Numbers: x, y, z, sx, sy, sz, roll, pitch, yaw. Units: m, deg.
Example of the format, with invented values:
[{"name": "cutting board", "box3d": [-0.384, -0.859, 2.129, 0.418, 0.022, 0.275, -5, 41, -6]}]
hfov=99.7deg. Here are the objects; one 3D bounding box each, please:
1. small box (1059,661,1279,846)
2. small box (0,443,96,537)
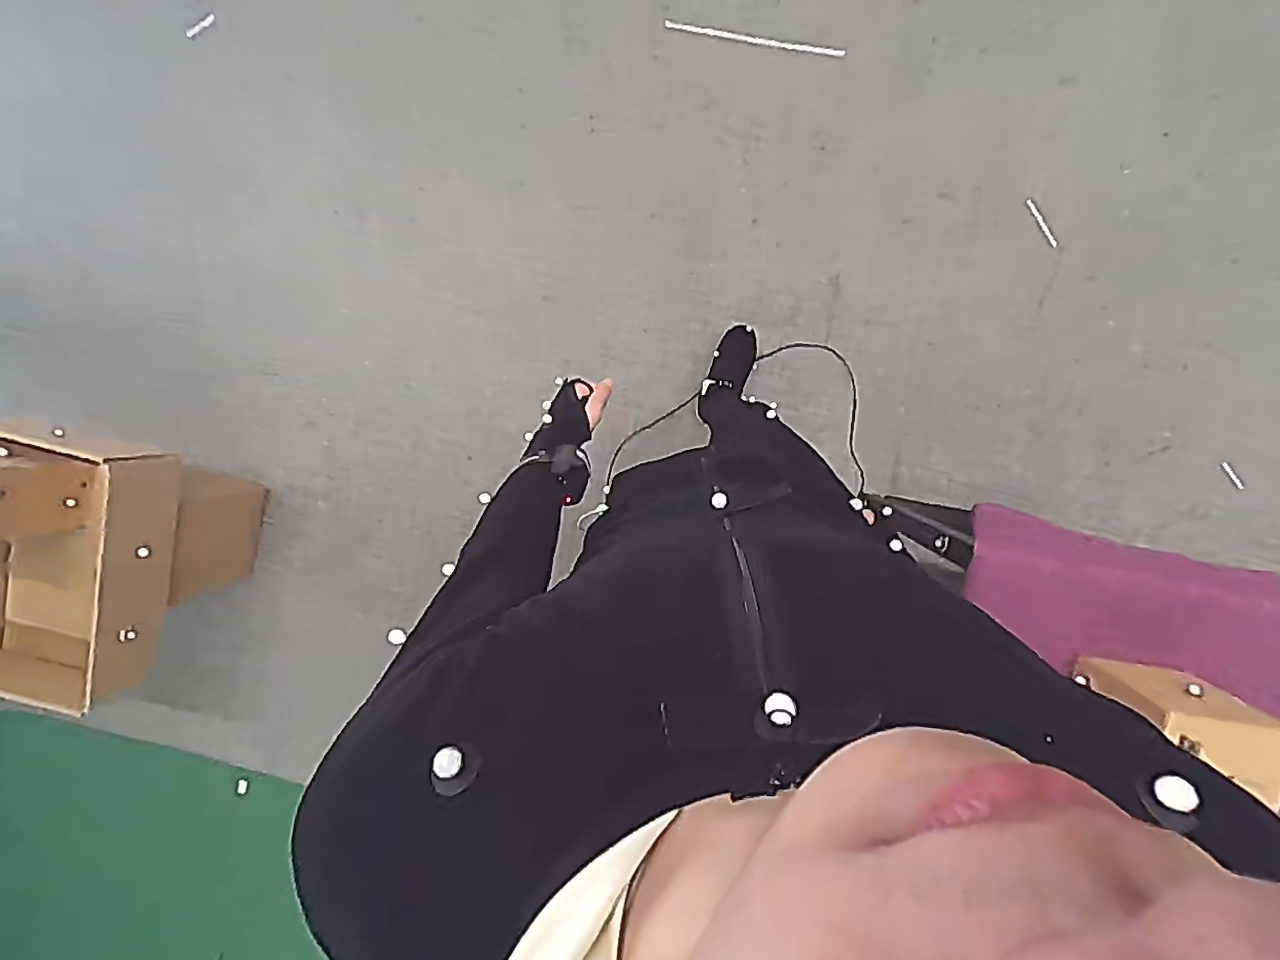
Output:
[{"name": "small box", "box3d": [0.771, 0.386, 0.793, 0.179, 0.176, 0.168, 9, 99, 2]}, {"name": "small box", "box3d": [-1.412, 0.015, 1.227, 0.179, 0.176, 0.168, 15, 97, 1]}]
